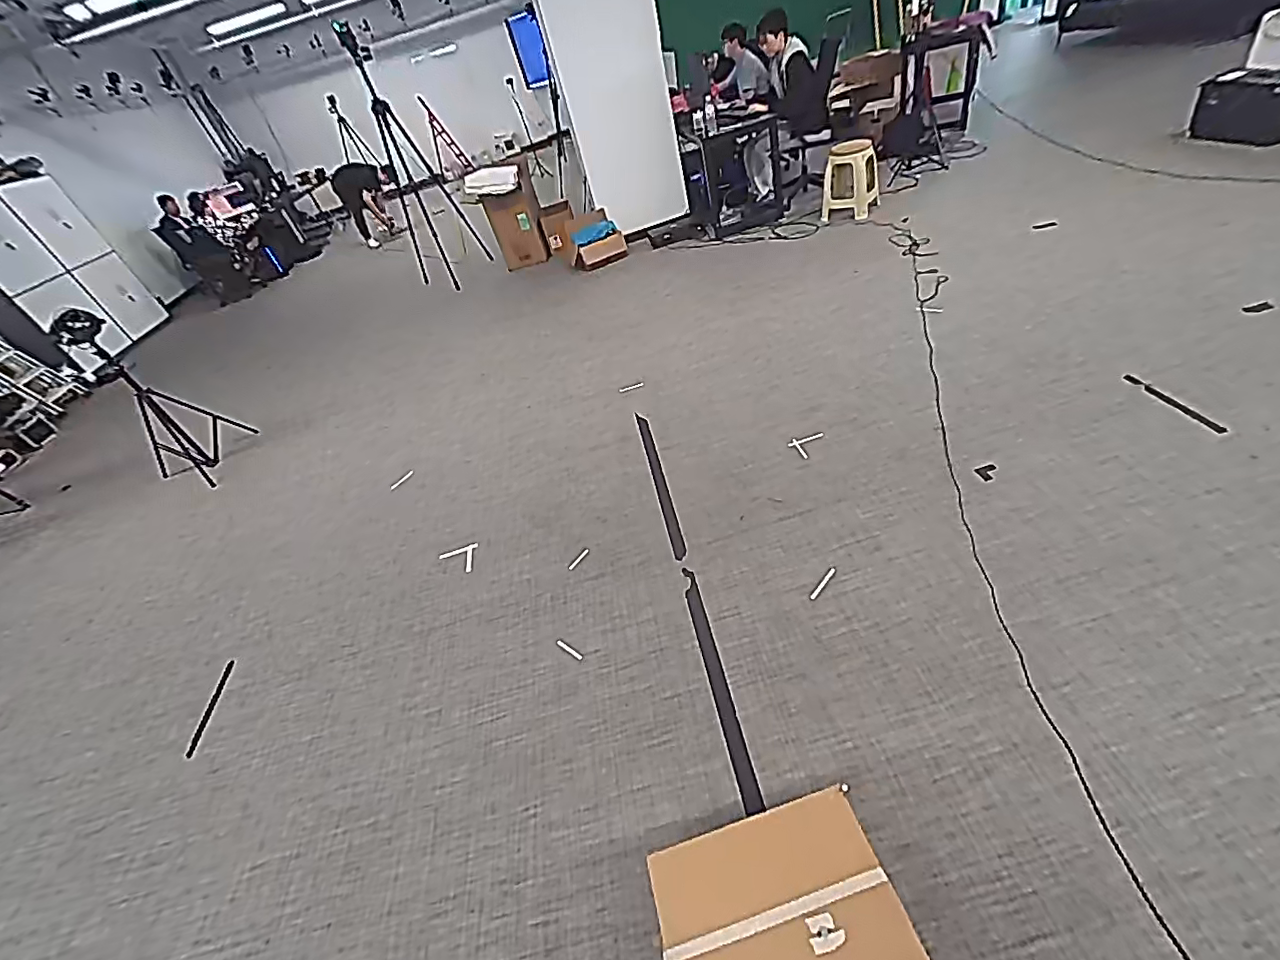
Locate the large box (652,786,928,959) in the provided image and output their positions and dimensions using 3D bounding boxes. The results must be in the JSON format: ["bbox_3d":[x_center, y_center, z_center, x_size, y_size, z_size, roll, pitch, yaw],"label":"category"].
[{"bbox_3d":[0.278,0.873,1.036,0.408,0.320,0.320,-20,38,-1],"label":"large box"}]
